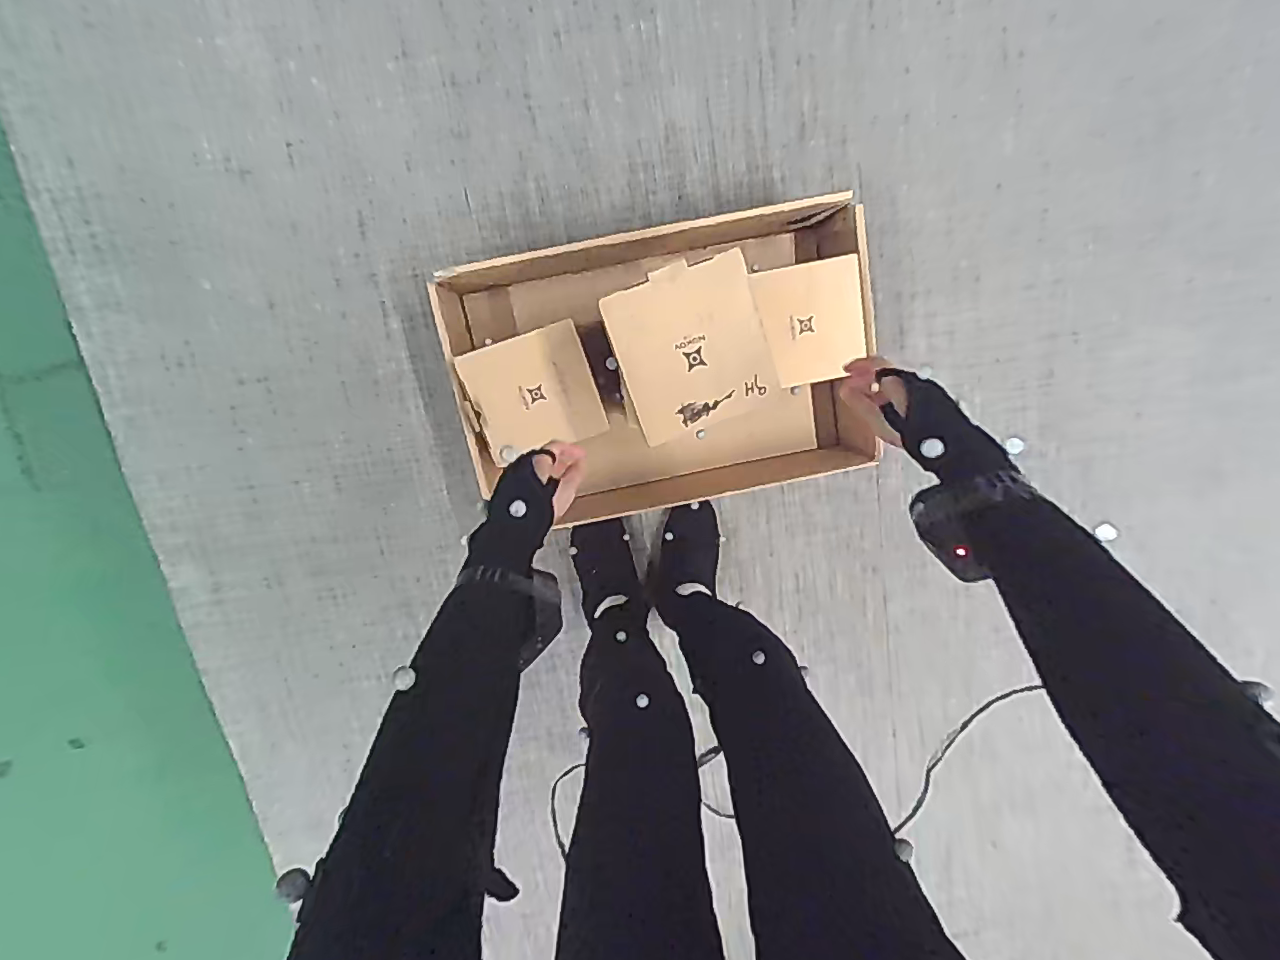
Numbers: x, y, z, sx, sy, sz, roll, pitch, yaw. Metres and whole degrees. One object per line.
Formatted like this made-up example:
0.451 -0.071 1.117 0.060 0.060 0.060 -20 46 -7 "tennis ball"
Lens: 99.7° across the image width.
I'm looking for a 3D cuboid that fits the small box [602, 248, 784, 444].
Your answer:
0.056 -0.160 0.674 0.168 0.176 0.179 -19 103 2 "small box"
